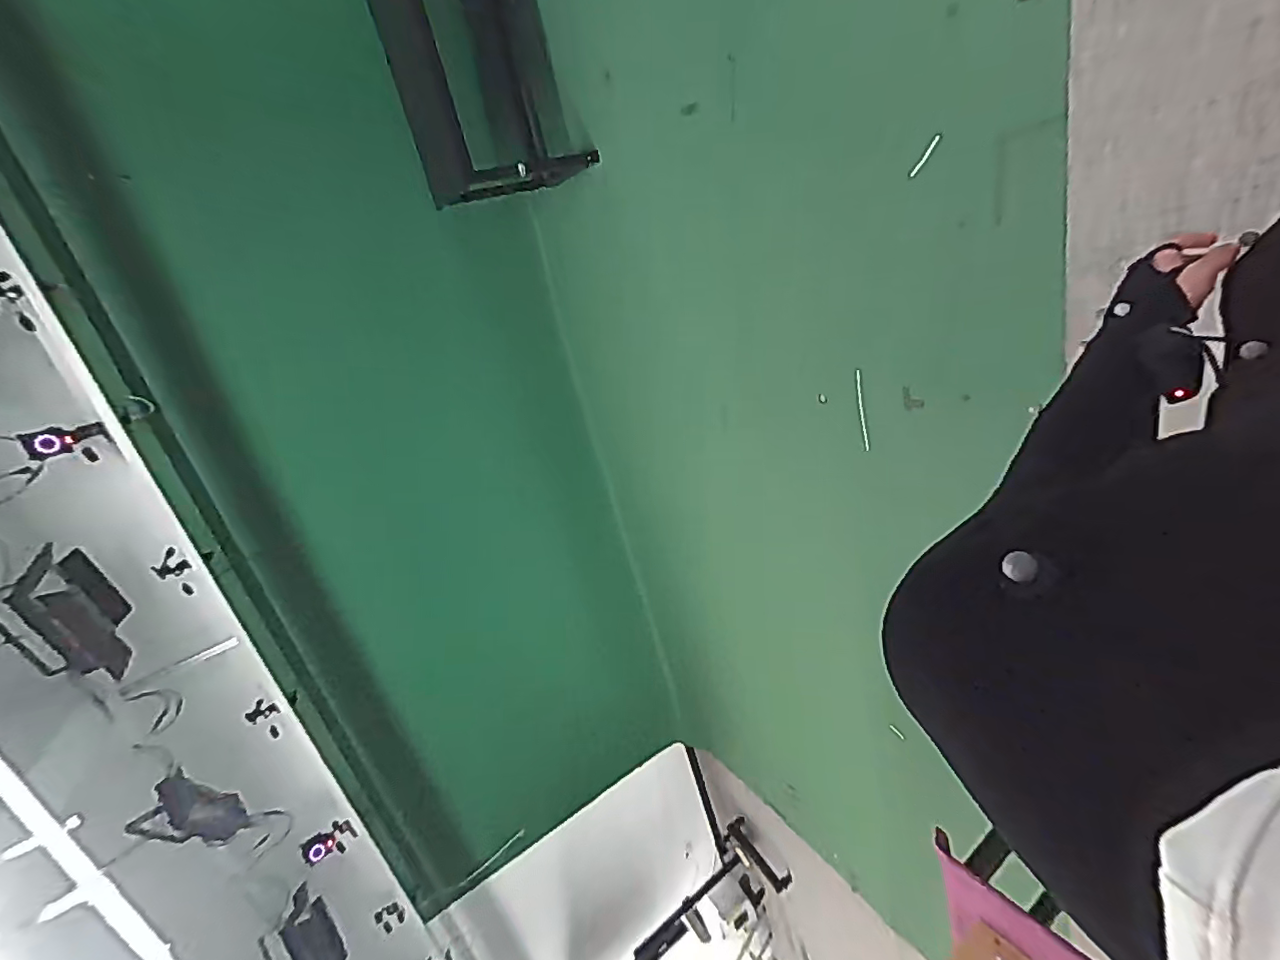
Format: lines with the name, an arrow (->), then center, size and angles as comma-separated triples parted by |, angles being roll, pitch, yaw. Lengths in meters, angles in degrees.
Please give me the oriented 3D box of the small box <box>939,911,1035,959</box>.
small box -> 0.895, 1.272, 1.380 | 0.168, 0.176, 0.179 | 19, 130, 55
